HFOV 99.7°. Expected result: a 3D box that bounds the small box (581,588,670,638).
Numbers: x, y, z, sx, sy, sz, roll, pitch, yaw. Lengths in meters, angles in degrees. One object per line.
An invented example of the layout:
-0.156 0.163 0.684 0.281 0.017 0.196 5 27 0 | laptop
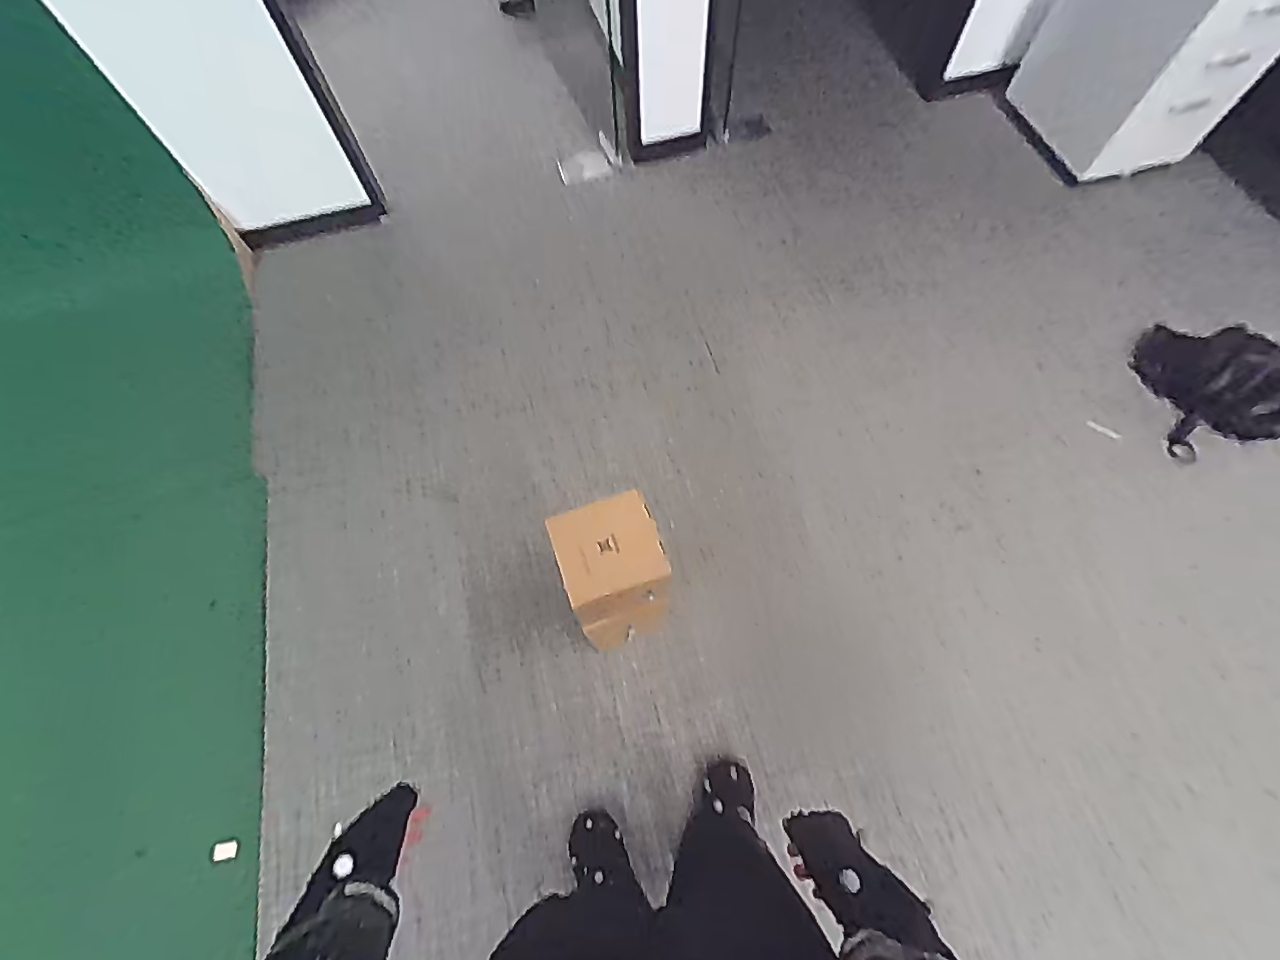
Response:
-0.049 0.216 1.131 0.179 0.176 0.168 -19 66 -7 | small box

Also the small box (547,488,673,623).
-0.051 0.143 0.986 0.179 0.176 0.168 -20 65 -6 | small box

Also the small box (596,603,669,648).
-0.045 0.281 1.281 0.179 0.176 0.168 -23 67 -9 | small box
